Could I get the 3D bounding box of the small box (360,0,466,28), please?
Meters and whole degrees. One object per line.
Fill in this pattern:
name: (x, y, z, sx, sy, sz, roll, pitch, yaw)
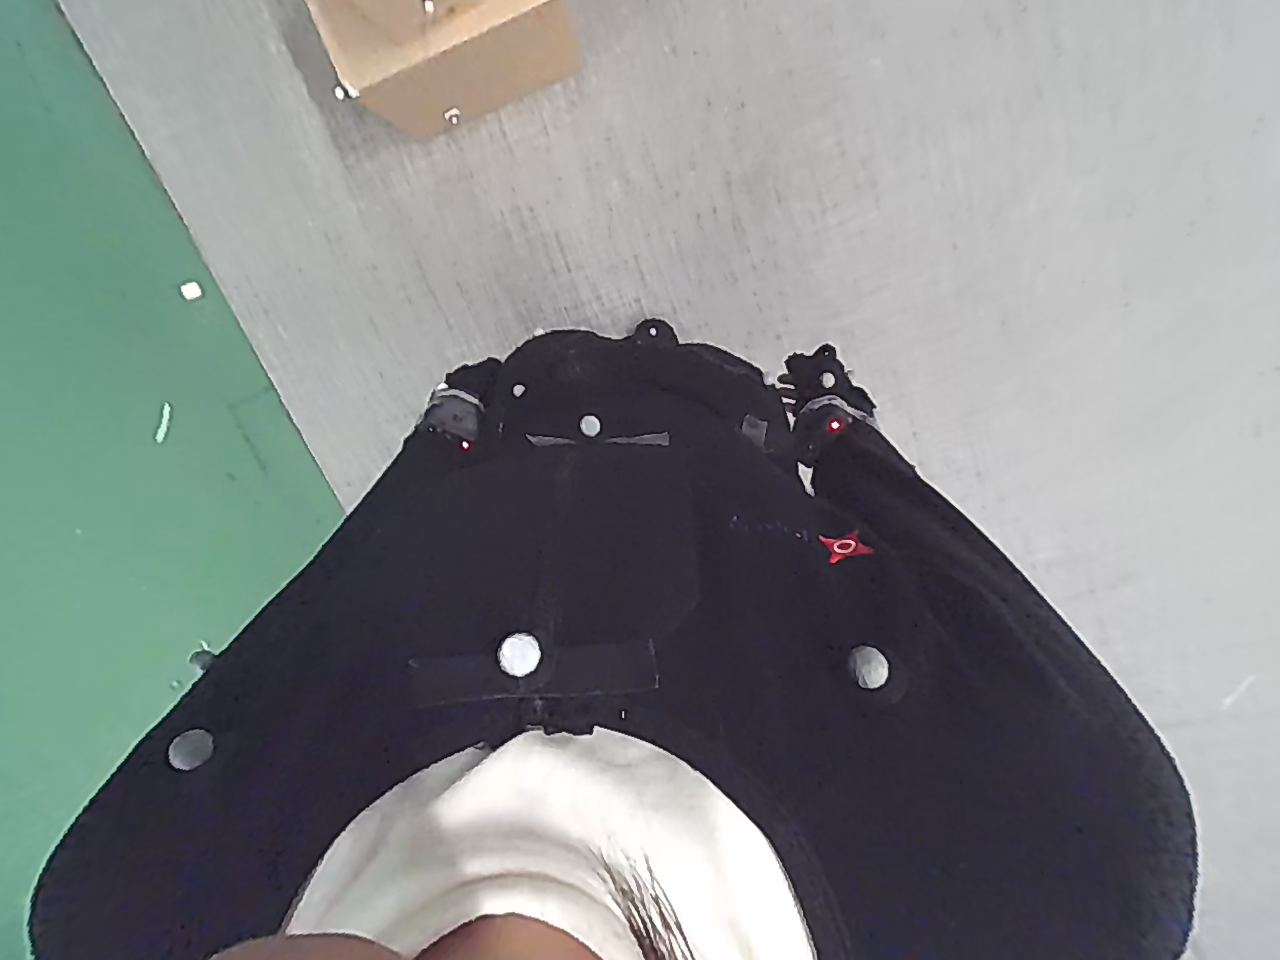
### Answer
small box: (-0.353, -0.804, 0.782, 0.168, 0.176, 0.179, -21, 108, 9)
